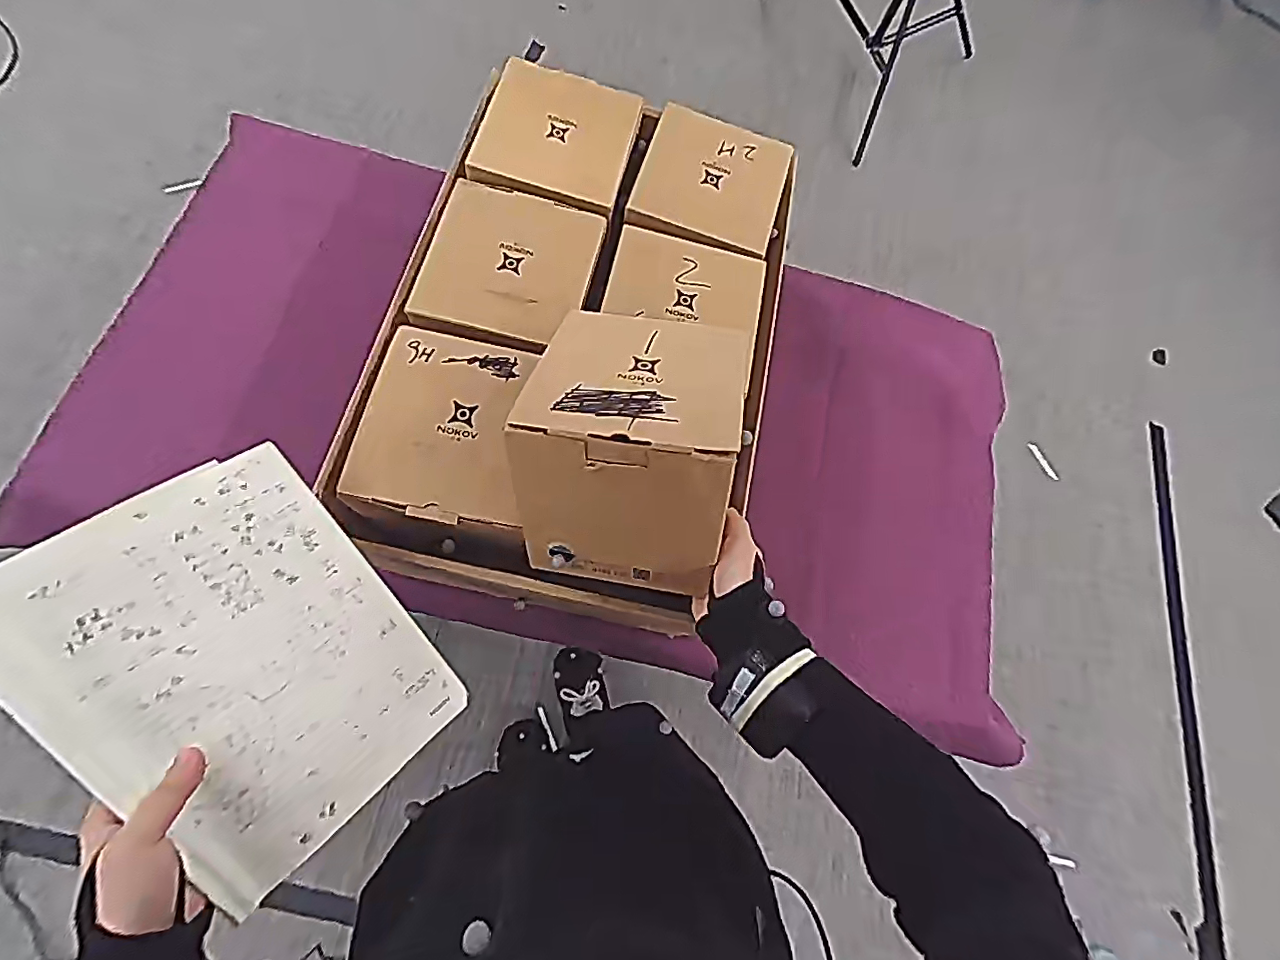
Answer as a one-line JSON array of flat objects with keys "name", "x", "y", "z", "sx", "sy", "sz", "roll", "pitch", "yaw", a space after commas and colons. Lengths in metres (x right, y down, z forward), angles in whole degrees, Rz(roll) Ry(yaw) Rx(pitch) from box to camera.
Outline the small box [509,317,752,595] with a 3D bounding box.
[{"name": "small box", "x": 0.002, "y": -0.021, "z": 0.481, "sx": 0.168, "sy": 0.176, "sz": 0.179, "roll": 8, "pitch": 44, "yaw": 7}]
